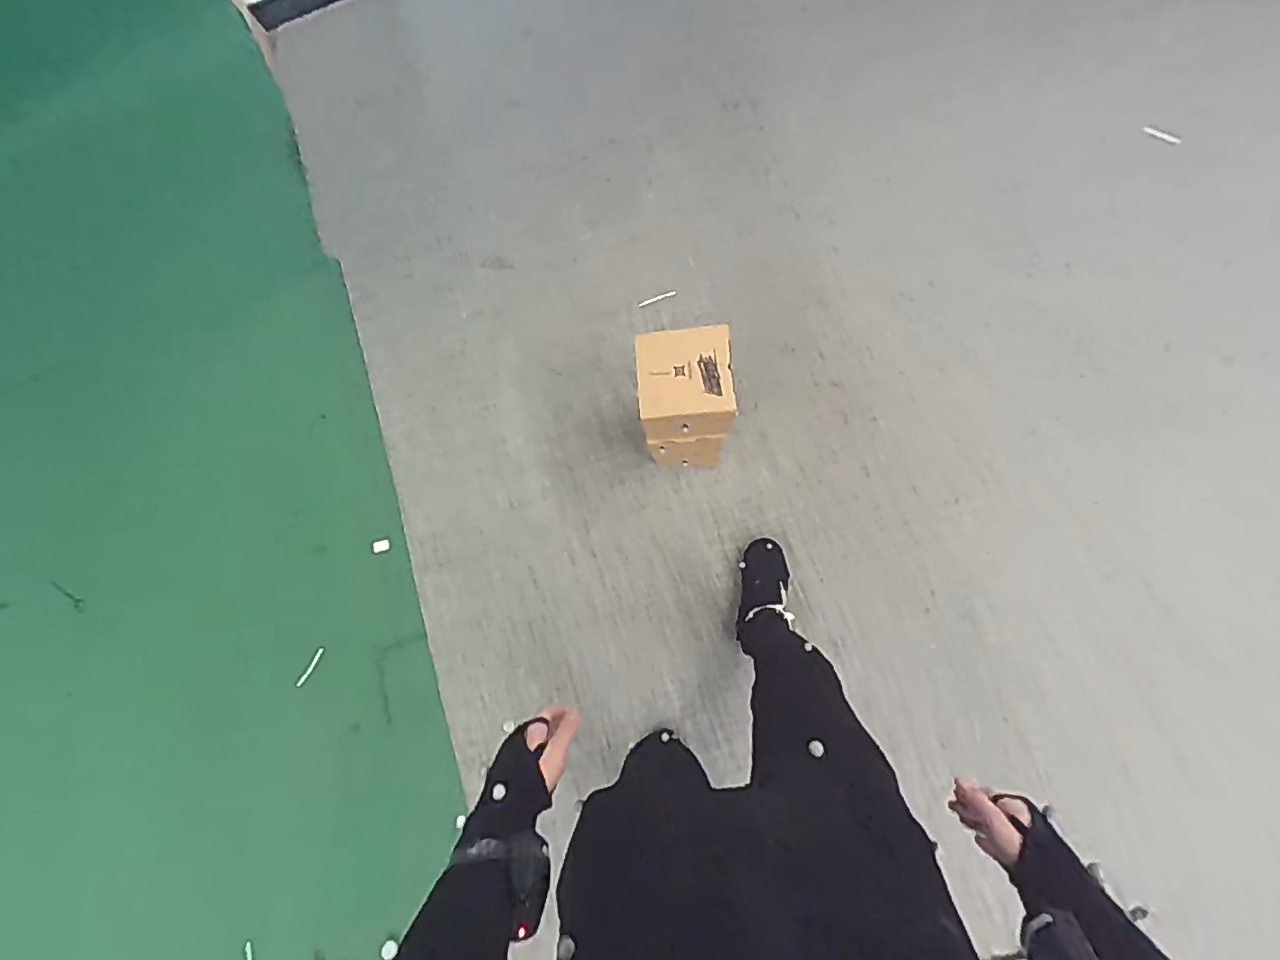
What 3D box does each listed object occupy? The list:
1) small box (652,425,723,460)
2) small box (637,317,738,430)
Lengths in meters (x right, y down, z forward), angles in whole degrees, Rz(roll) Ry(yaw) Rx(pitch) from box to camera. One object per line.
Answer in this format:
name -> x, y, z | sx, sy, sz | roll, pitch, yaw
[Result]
small box -> 0.125, -0.150, 1.359 | 0.168, 0.176, 0.179 | 4, 81, 6
small box -> 0.090, -0.196, 1.036 | 0.179, 0.176, 0.168 | -3, 81, 7
